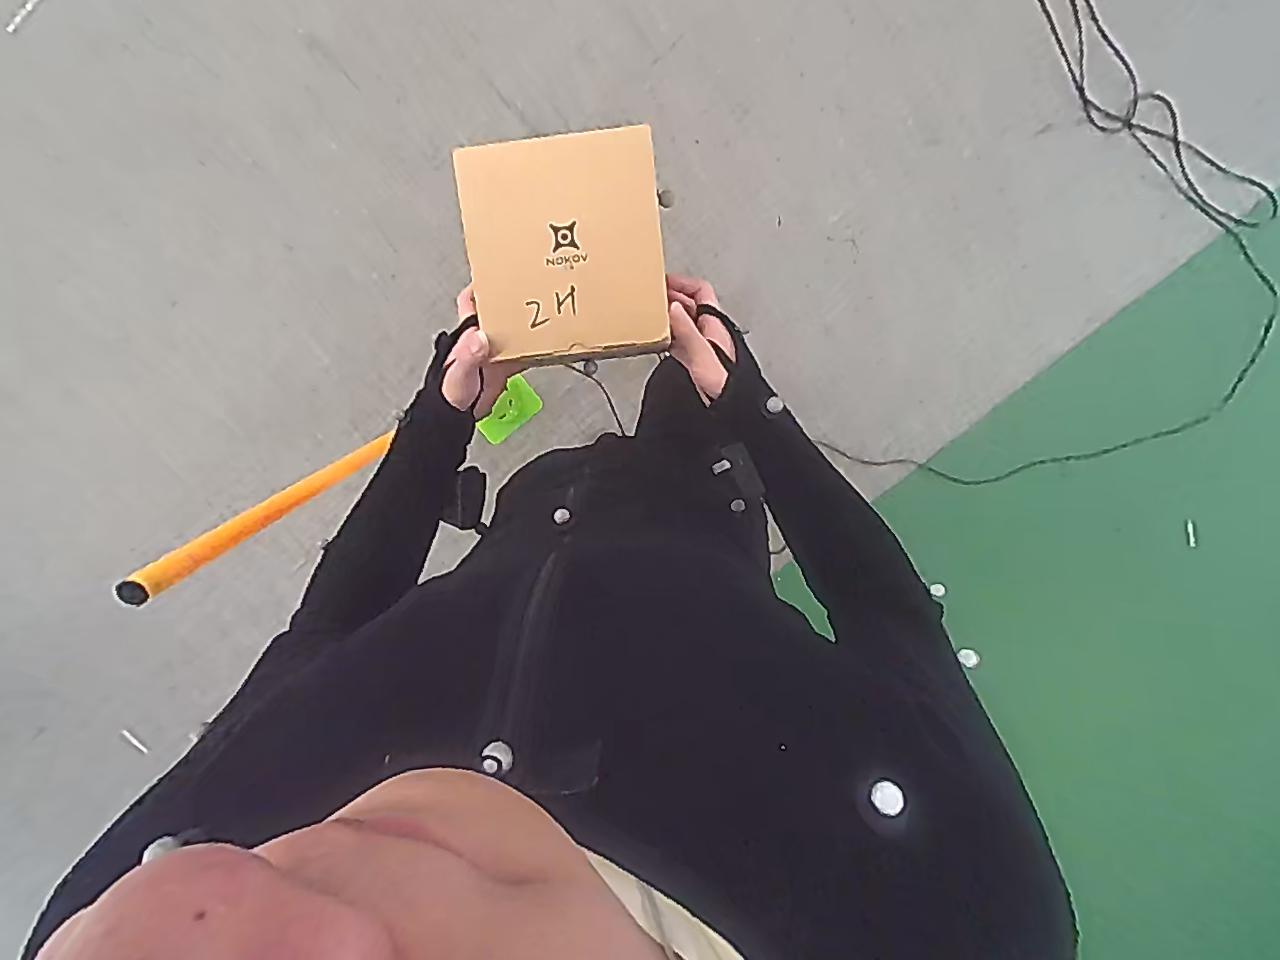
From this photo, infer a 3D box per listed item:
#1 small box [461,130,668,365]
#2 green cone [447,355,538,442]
[{"bbox_3d":[-0.064,-0.214,0.545,0.168,0.176,0.179,-6,100,2],"label":"small box"},{"bbox_3d":[-0.427,-0.210,1.414,0.202,0.368,0.200,-38,98,6],"label":"green cone"}]
